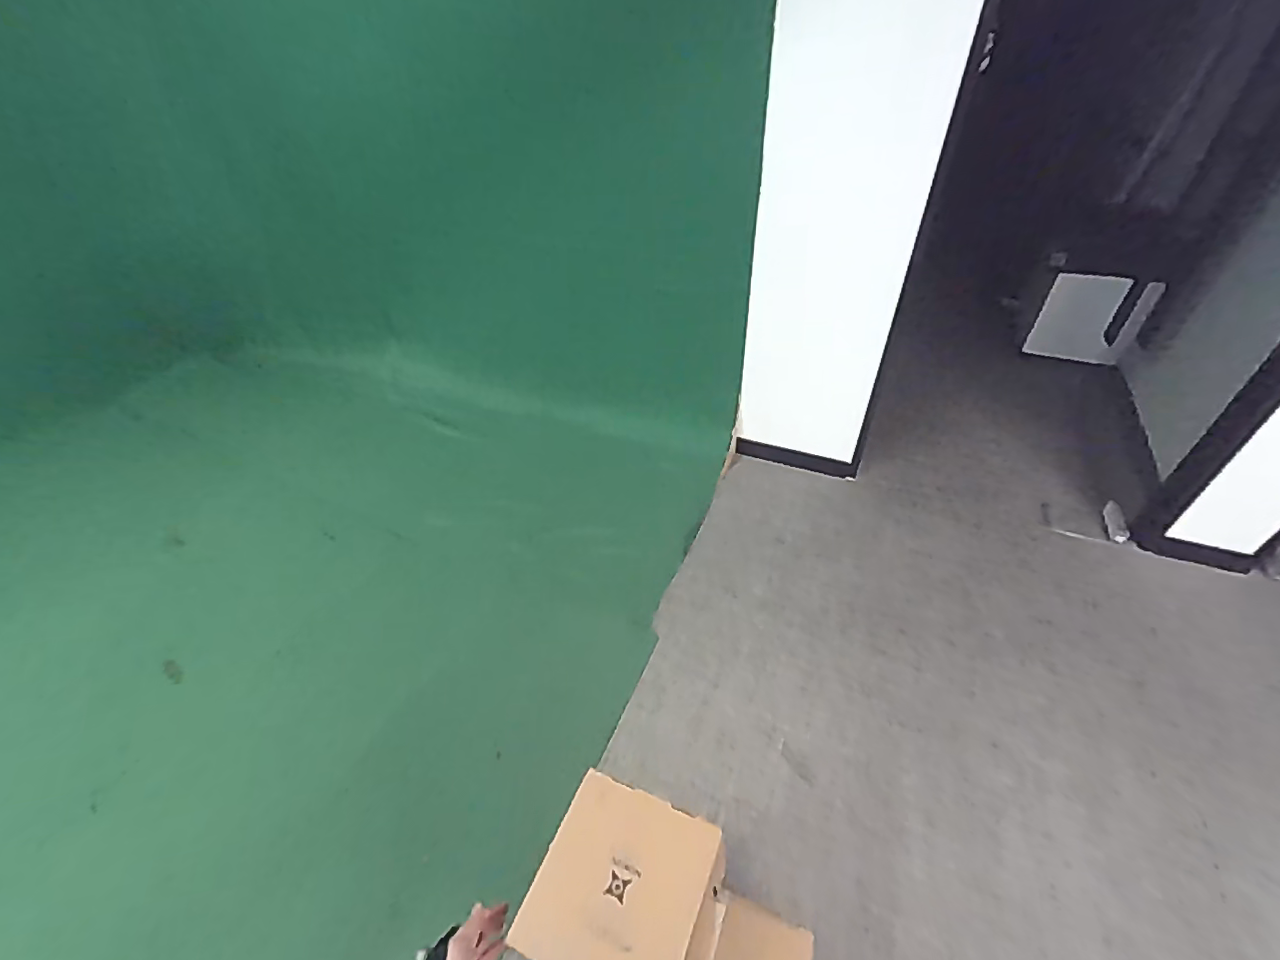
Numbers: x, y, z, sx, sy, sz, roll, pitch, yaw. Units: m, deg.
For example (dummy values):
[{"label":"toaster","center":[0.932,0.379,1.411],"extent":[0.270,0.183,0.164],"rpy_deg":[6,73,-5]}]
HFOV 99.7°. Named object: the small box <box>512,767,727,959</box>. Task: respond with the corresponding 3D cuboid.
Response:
[{"label":"small box","center":[-0.010,0.467,0.601],"extent":[0.168,0.176,0.179],"rpy_deg":[13,46,23]}]
